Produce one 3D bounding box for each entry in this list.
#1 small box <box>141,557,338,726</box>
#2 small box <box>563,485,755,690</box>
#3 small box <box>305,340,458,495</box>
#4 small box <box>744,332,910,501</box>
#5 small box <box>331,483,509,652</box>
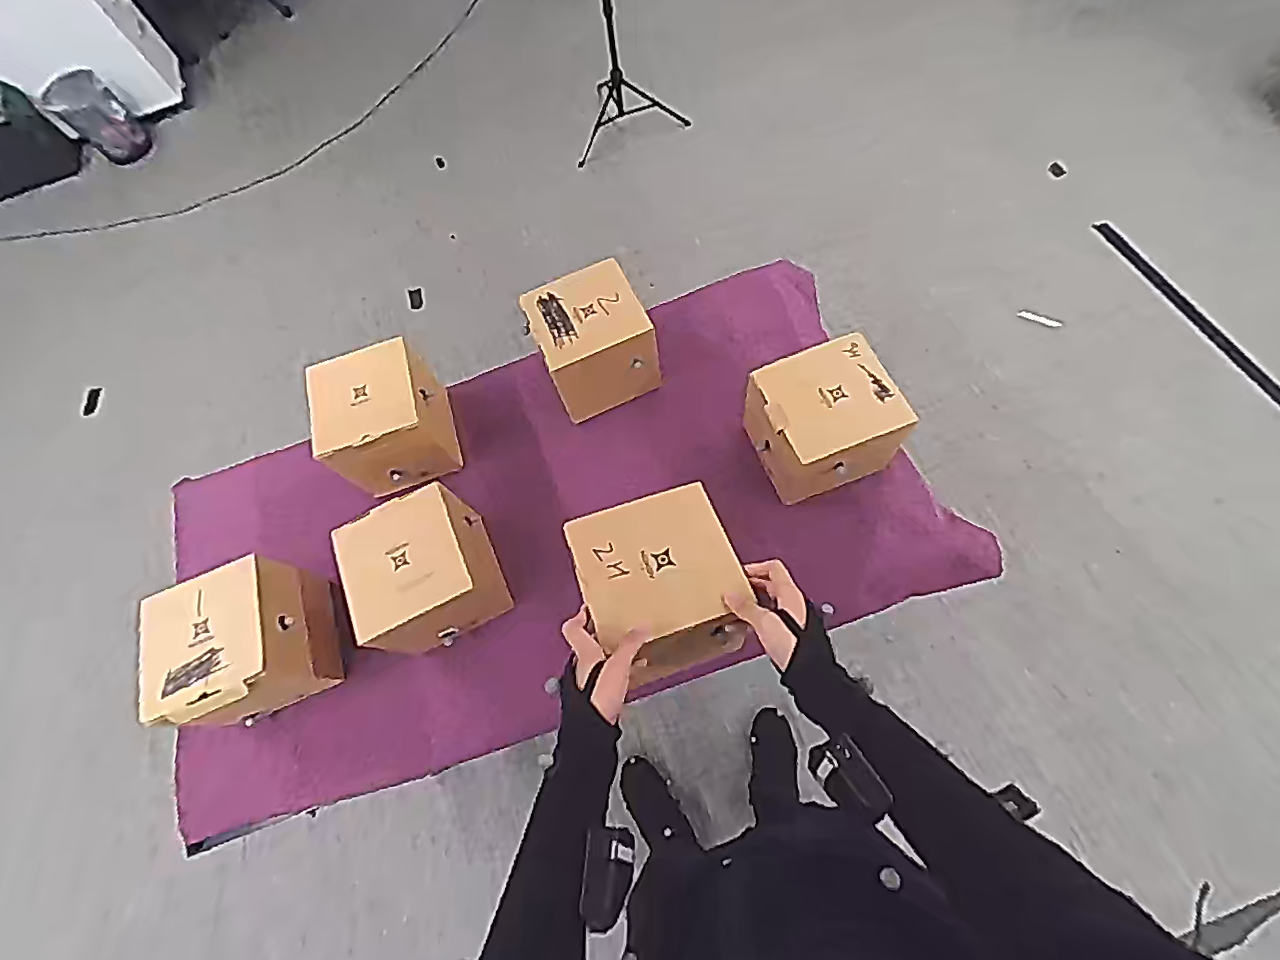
[{"bbox_3d":[-0.575,0.240,0.794,0.168,0.176,0.179,-23,66,-4],"label":"small box"},{"bbox_3d":[0.019,0.136,0.664,0.179,0.176,0.168,-17,58,-8],"label":"small box"},{"bbox_3d":[-0.430,-0.099,0.915,0.168,0.176,0.179,-19,67,-2],"label":"small box"},{"bbox_3d":[0.271,-0.087,0.830,0.179,0.176,0.168,-21,67,-1],"label":"small box"},{"bbox_3d":[-0.320,0.138,0.808,0.168,0.176,0.179,-27,67,-3],"label":"small box"}]
